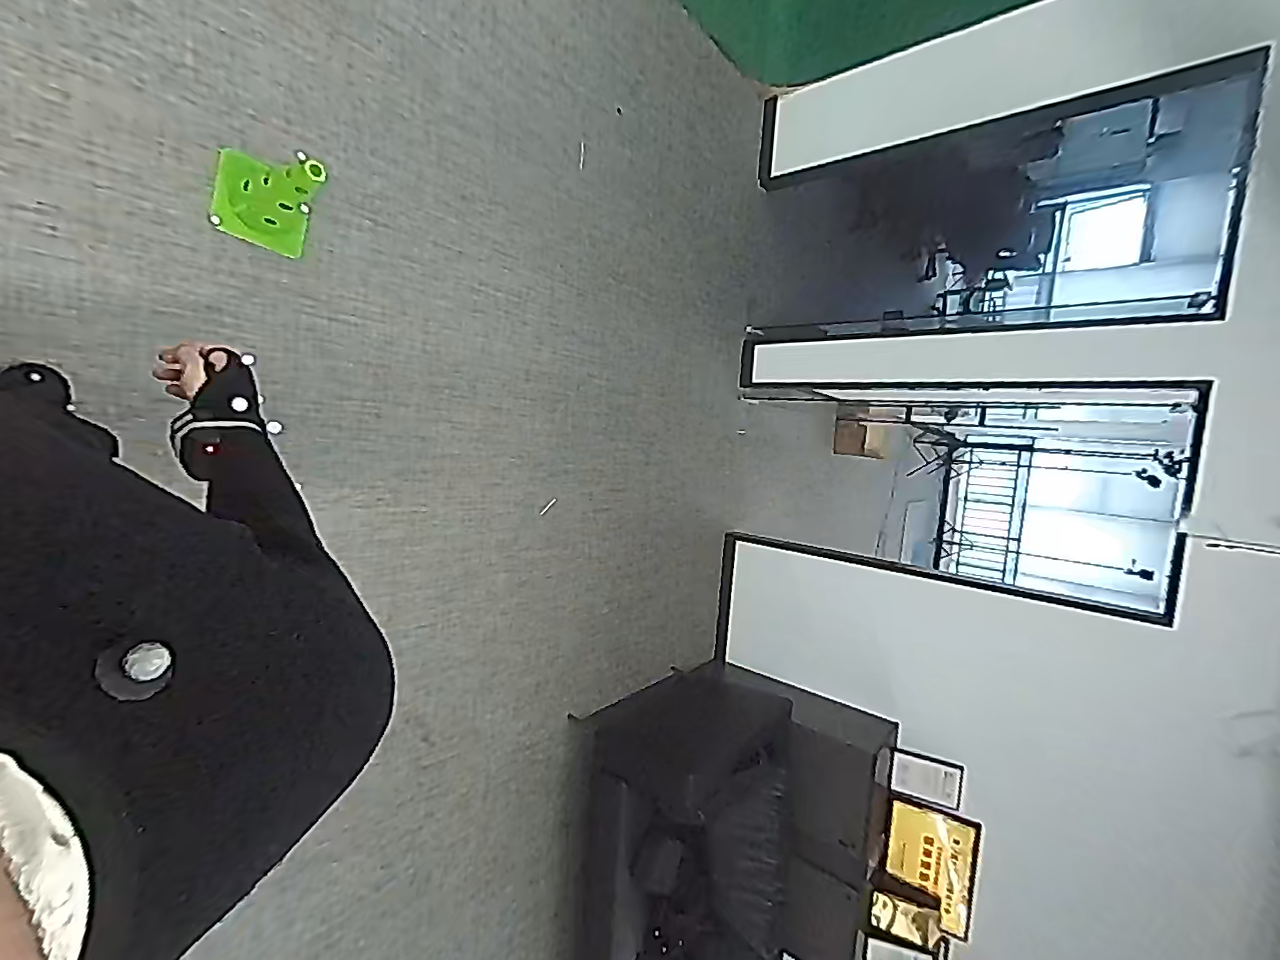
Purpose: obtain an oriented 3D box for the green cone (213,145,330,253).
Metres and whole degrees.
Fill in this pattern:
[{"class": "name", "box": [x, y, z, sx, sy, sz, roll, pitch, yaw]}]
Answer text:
[{"class": "green cone", "box": [-0.818, -0.690, 1.264, 0.200, 0.368, 0.202, 8, 89, -51]}]
